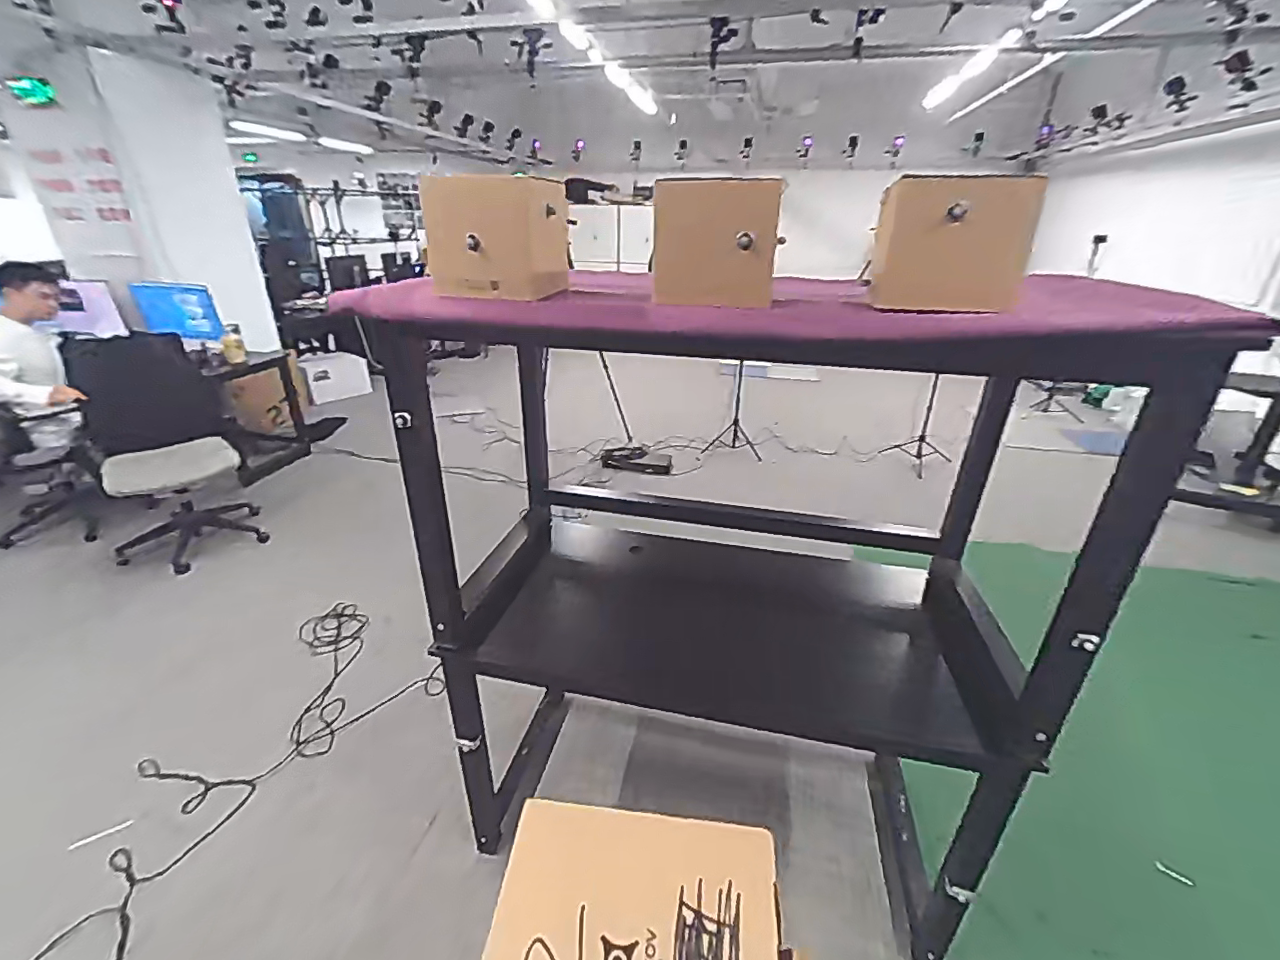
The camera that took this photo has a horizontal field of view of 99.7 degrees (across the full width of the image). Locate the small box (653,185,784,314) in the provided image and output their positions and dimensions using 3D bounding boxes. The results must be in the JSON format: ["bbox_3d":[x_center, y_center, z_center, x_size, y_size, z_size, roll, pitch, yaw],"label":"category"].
[{"bbox_3d":[0.120,-0.353,0.832,0.179,0.176,0.168,5,24,11],"label":"small box"}]

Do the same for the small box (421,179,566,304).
[{"bbox_3d":[-0.220,-0.381,0.868,0.168,0.176,0.179,7,26,9],"label":"small box"}]

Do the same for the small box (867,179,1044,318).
[{"bbox_3d":[0.441,-0.331,0.792,0.179,0.176,0.168,7,23,13],"label":"small box"}]
